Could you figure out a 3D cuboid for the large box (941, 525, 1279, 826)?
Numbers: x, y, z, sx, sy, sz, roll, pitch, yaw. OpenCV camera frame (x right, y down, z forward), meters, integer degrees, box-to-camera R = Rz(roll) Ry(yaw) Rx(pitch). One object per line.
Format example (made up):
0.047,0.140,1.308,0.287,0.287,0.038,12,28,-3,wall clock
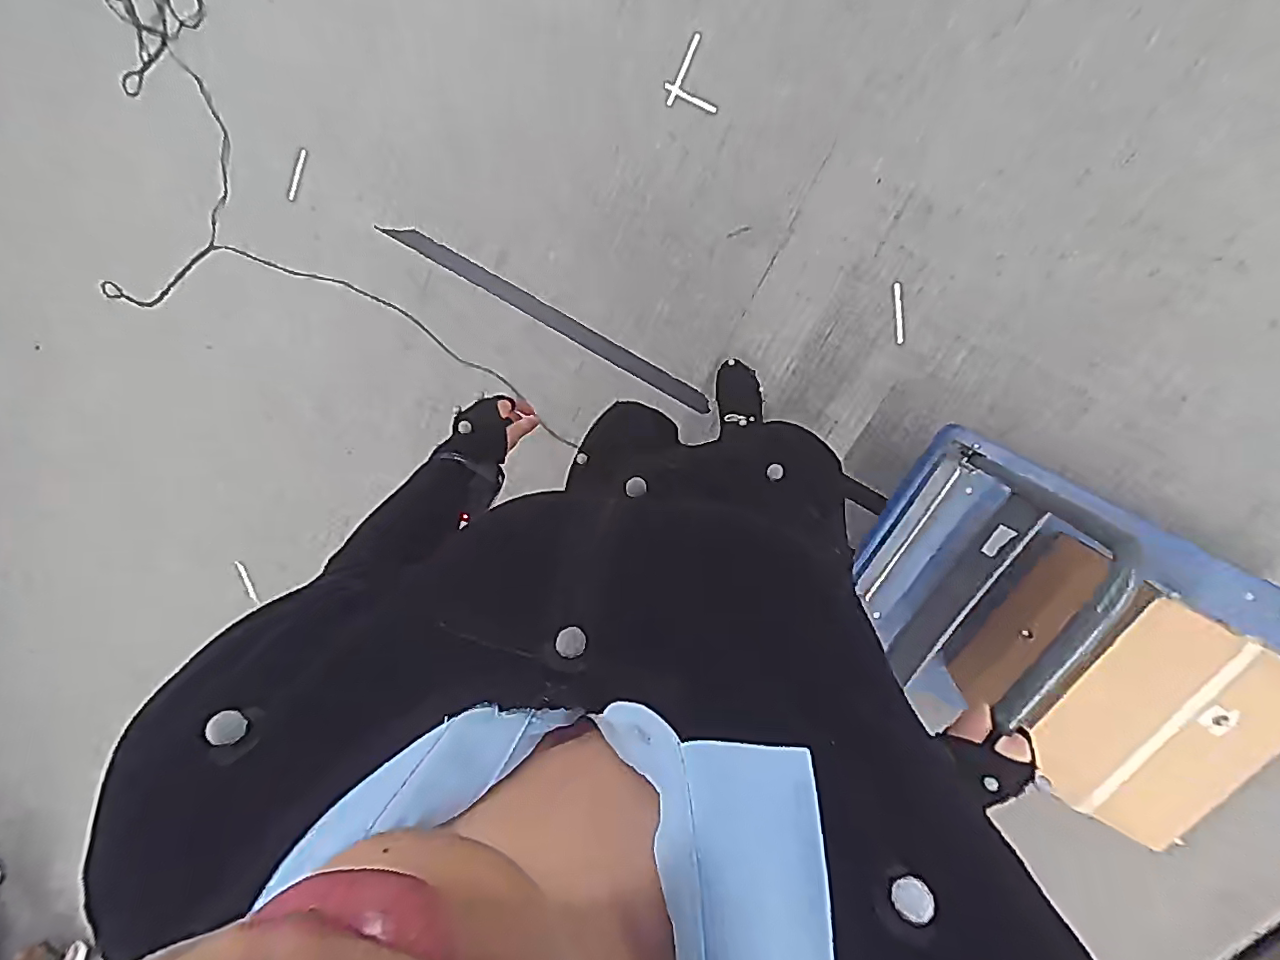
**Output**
0.901,0.365,1.089,0.320,0.320,0.408,29,106,4,large box
